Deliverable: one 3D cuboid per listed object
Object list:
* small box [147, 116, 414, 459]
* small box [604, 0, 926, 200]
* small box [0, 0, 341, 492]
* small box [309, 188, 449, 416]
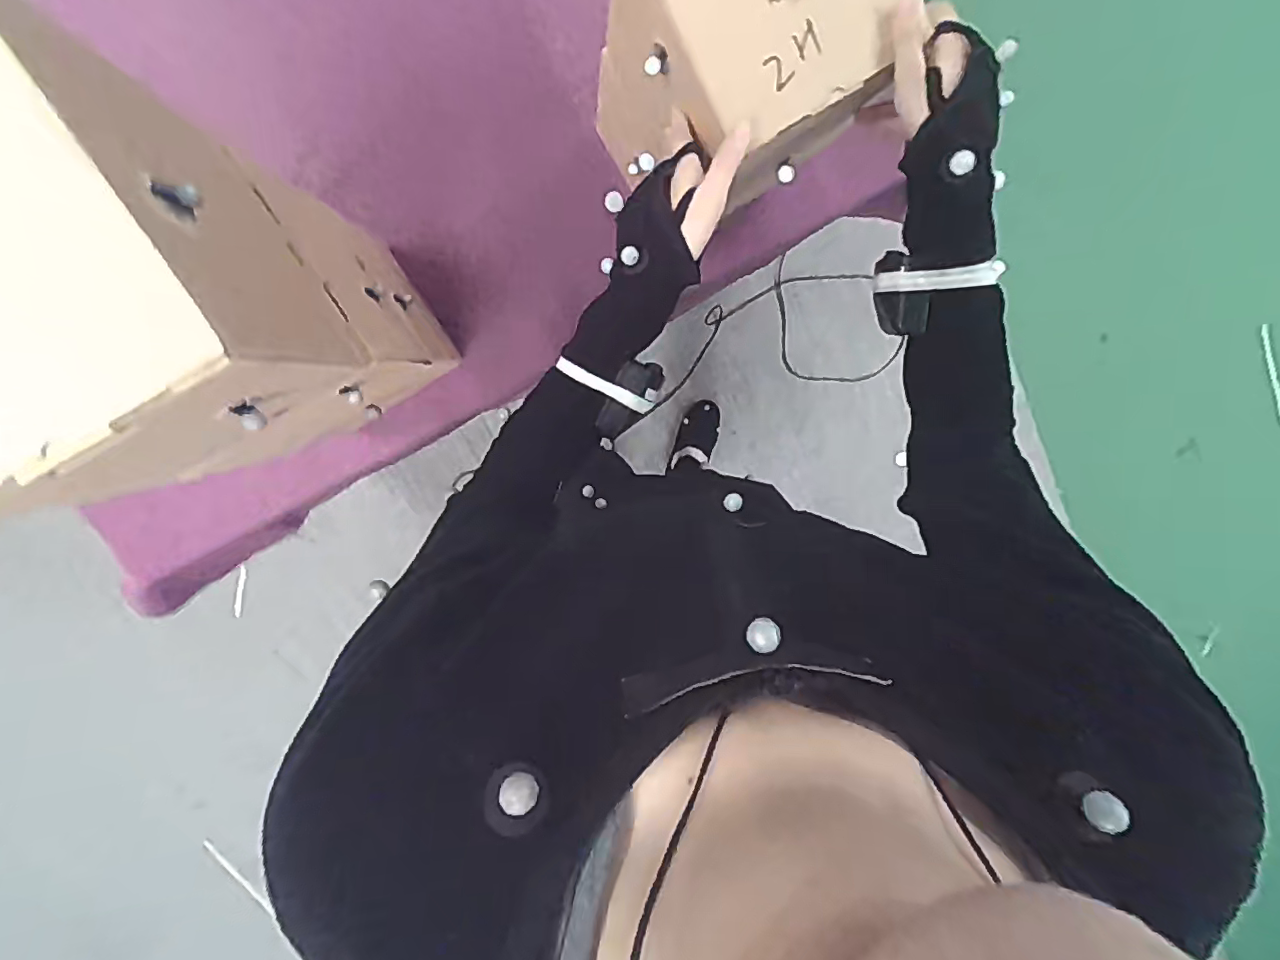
[{"bbox_3d":[-0.321,-0.139,0.442,0.179,0.176,0.168,-32,104,-1],"label":"small box"},{"bbox_3d":[0.081,-0.367,0.437,0.168,0.176,0.179,-30,103,1],"label":"small box"},{"bbox_3d":[-0.301,-0.108,0.284,0.168,0.176,0.179,-30,103,-2],"label":"small box"},{"bbox_3d":[-0.342,-0.178,0.599,0.179,0.176,0.168,-32,104,0],"label":"small box"}]
